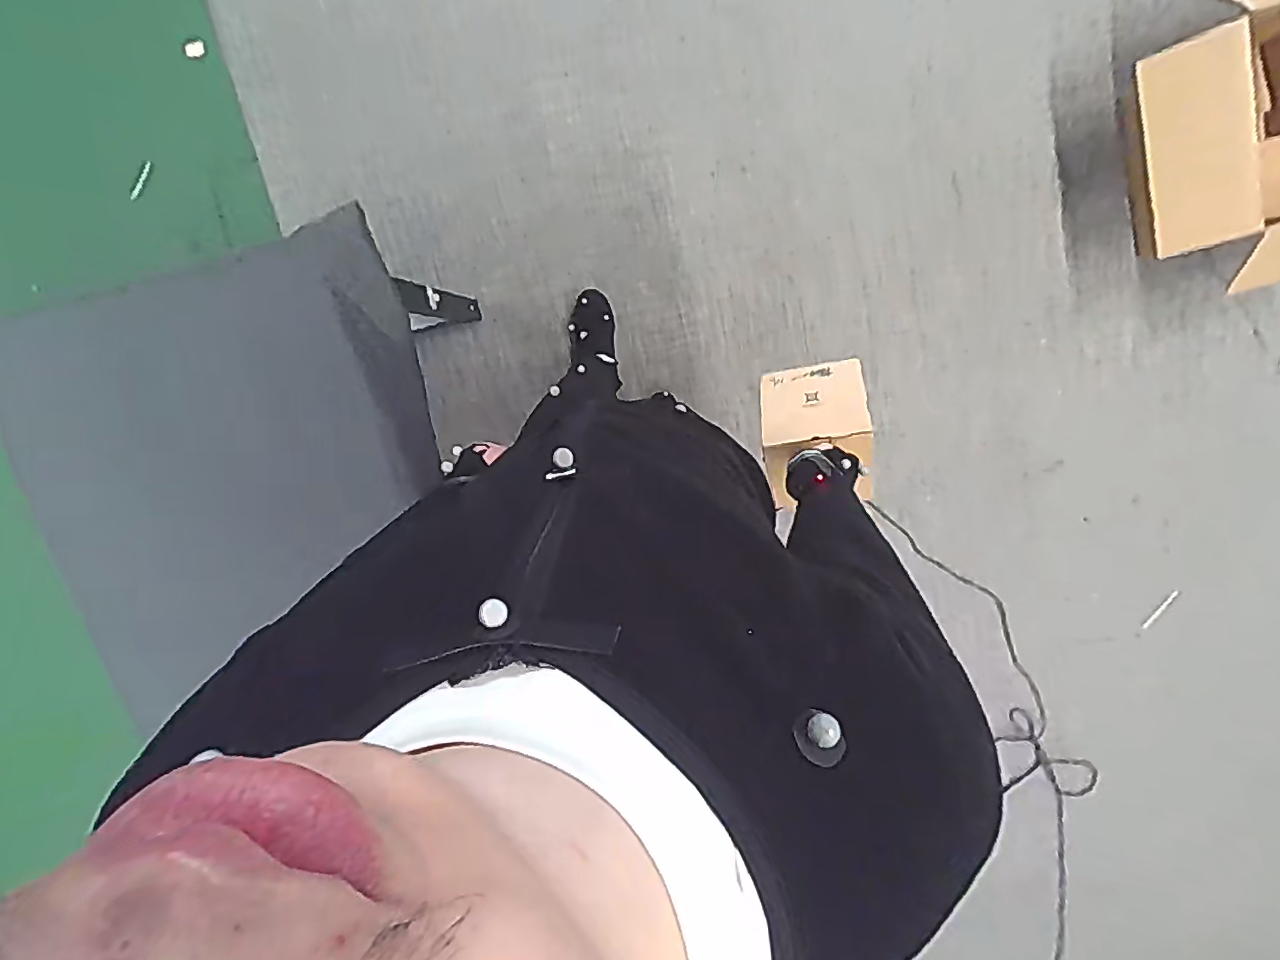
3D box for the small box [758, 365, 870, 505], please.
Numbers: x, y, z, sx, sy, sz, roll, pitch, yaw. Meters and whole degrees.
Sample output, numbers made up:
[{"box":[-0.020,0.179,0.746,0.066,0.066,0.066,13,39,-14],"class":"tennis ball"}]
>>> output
[{"box":[0.301,-0.068,0.941,0.168,0.179,0.176,-6,137,18],"class":"small box"}]
